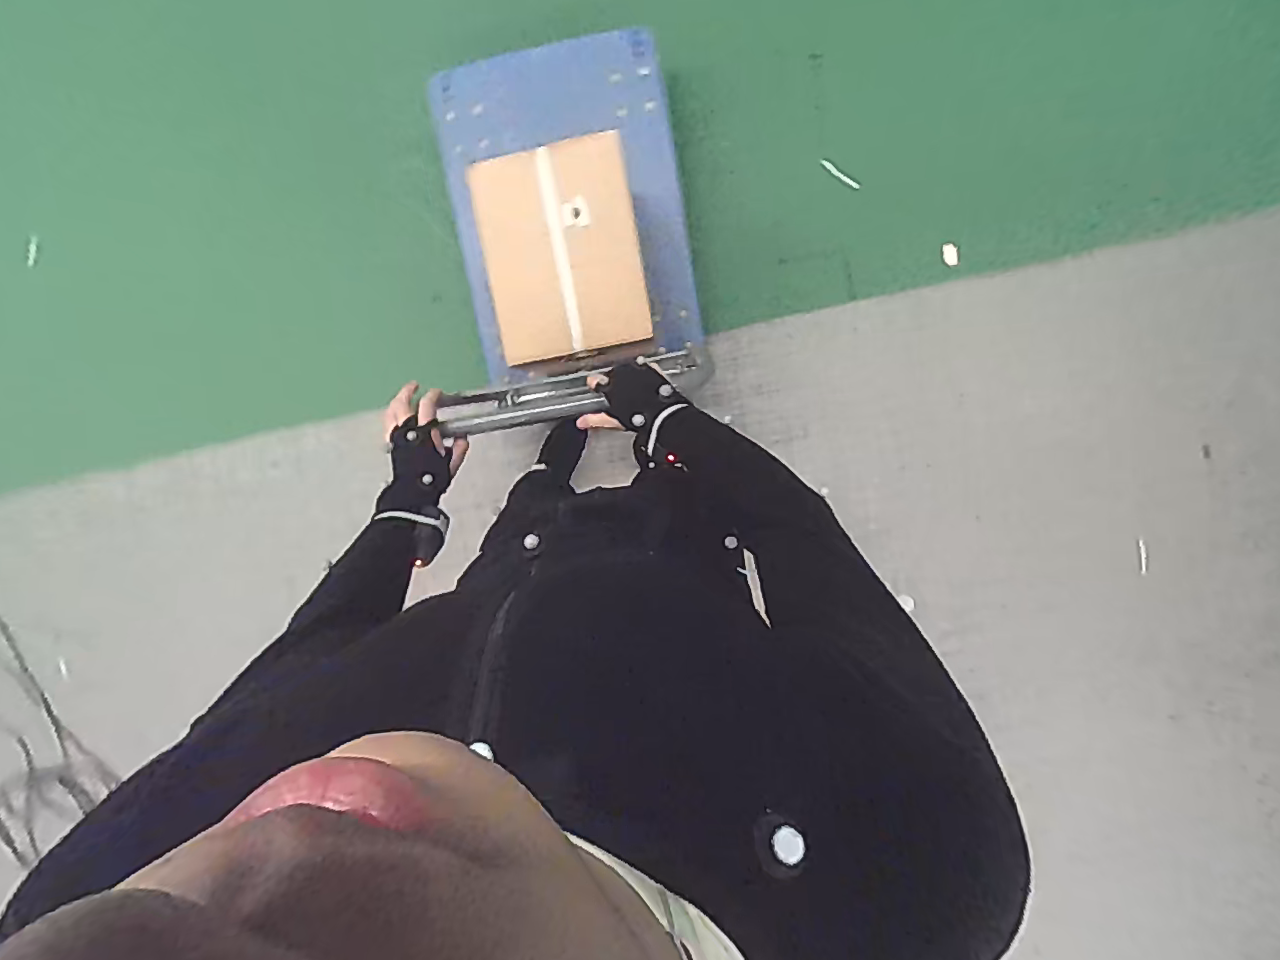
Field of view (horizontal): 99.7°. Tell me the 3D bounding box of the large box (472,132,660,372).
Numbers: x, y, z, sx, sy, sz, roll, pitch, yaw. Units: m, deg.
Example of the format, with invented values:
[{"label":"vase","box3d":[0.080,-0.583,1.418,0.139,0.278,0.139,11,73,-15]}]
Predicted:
[{"label":"large box","box3d":[-0.141,-0.480,1.236,0.320,0.320,0.408,-8,97,5]}]
